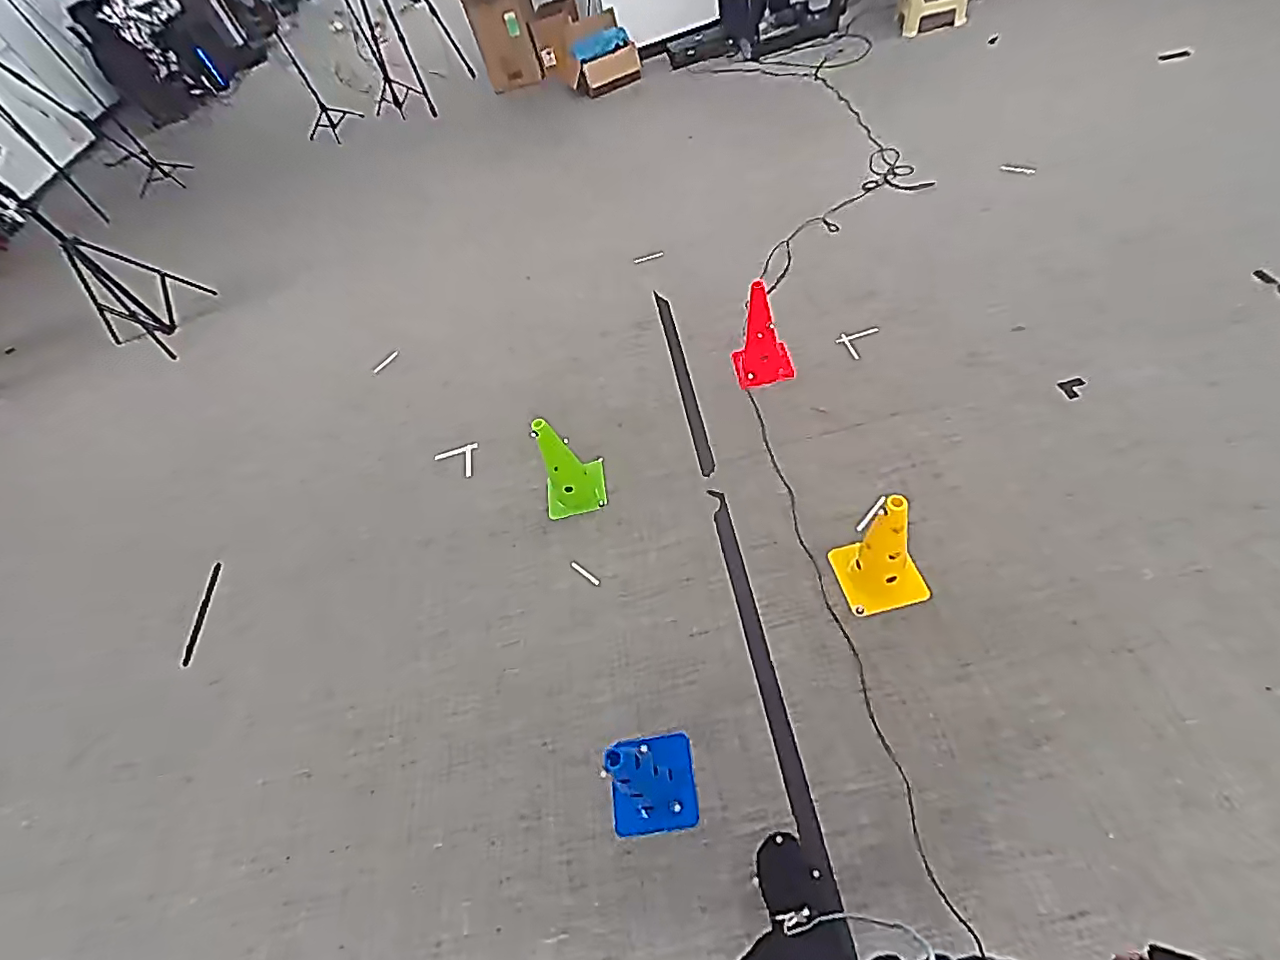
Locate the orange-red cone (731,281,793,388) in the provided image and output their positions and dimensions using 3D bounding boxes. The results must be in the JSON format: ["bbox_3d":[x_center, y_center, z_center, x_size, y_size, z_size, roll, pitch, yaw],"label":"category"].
[{"bbox_3d":[0.406,-0.515,1.836,0.199,0.360,0.198,-10,55,7],"label":"orange-red cone"}]

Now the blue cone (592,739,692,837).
[{"bbox_3d":[-0.017,0.628,1.148,0.192,0.380,0.193,-12,53,8],"label":"blue cone"}]

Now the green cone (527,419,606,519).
[{"bbox_3d":[-0.260,-0.067,1.699,0.202,0.368,0.200,-15,53,6],"label":"green cone"}]
